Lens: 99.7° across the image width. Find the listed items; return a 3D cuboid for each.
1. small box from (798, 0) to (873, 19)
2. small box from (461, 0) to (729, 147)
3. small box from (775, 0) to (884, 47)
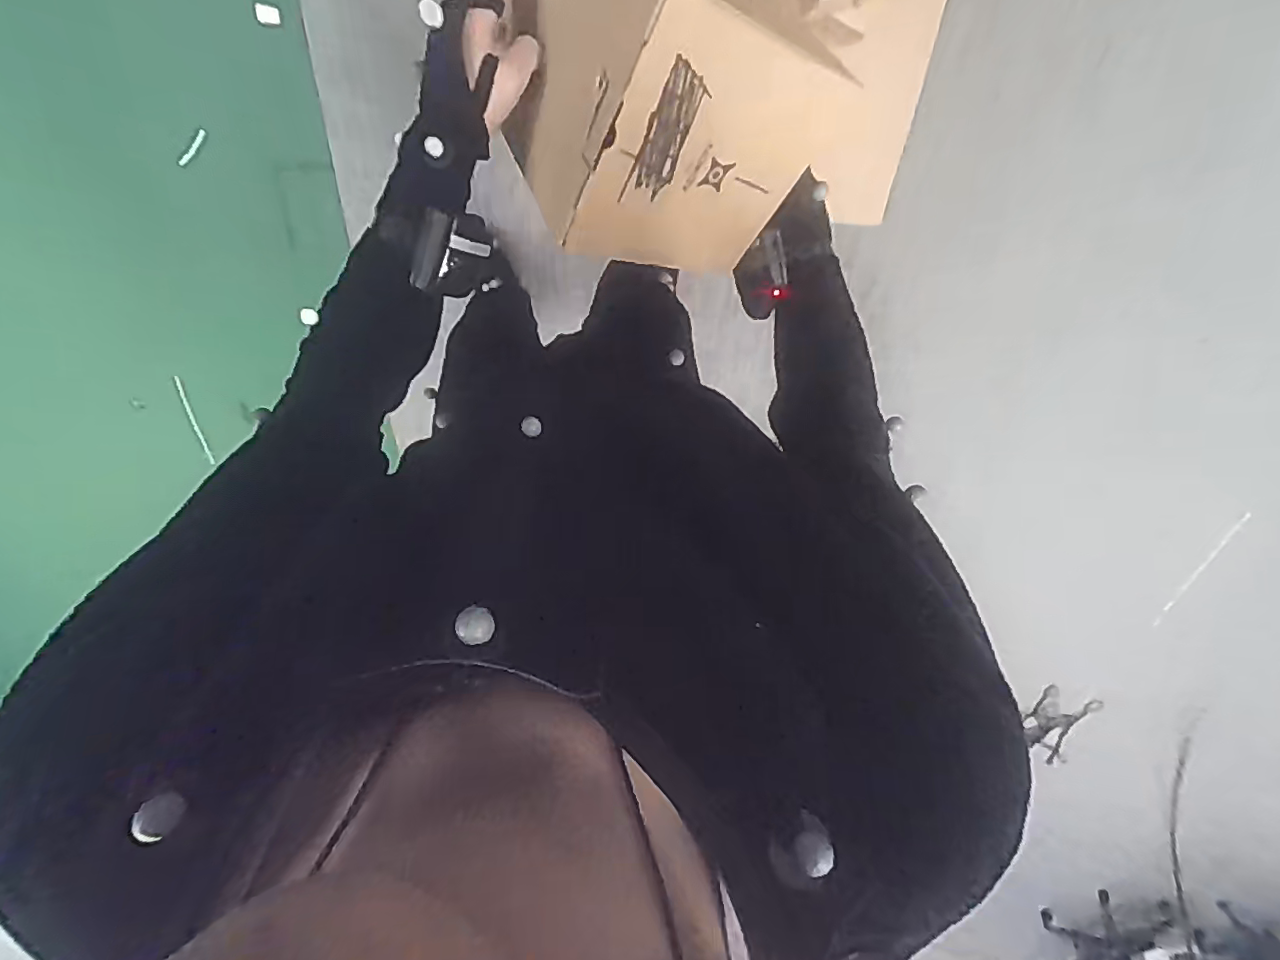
[{"bbox_3d":[0.324,-0.806,0.784,0.179,0.176,0.168,-8,121,12],"label":"small box"},{"bbox_3d":[-0.043,-0.432,0.456,0.168,0.176,0.179,-8,153,-36],"label":"small box"},{"bbox_3d":[0.347,-0.887,0.924,0.168,0.176,0.179,22,122,-9],"label":"small box"}]
